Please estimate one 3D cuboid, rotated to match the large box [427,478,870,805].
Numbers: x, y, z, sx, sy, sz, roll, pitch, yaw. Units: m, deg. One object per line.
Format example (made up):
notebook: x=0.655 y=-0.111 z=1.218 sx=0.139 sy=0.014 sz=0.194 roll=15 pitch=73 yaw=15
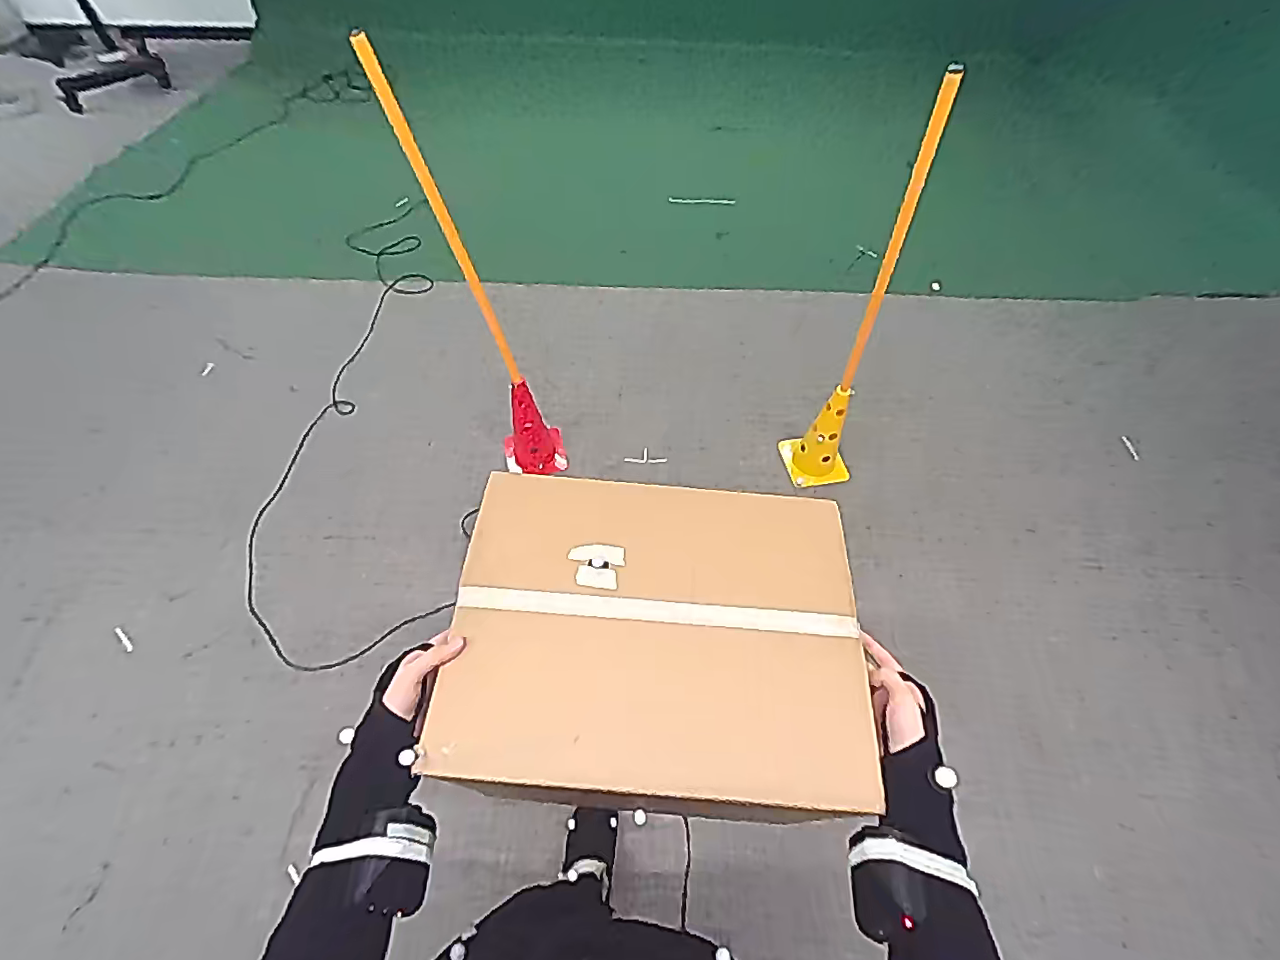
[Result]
large box: x=0.013 y=0.218 z=0.683 sx=0.408 sy=0.320 sz=0.320 roll=4 pitch=56 yaw=1
